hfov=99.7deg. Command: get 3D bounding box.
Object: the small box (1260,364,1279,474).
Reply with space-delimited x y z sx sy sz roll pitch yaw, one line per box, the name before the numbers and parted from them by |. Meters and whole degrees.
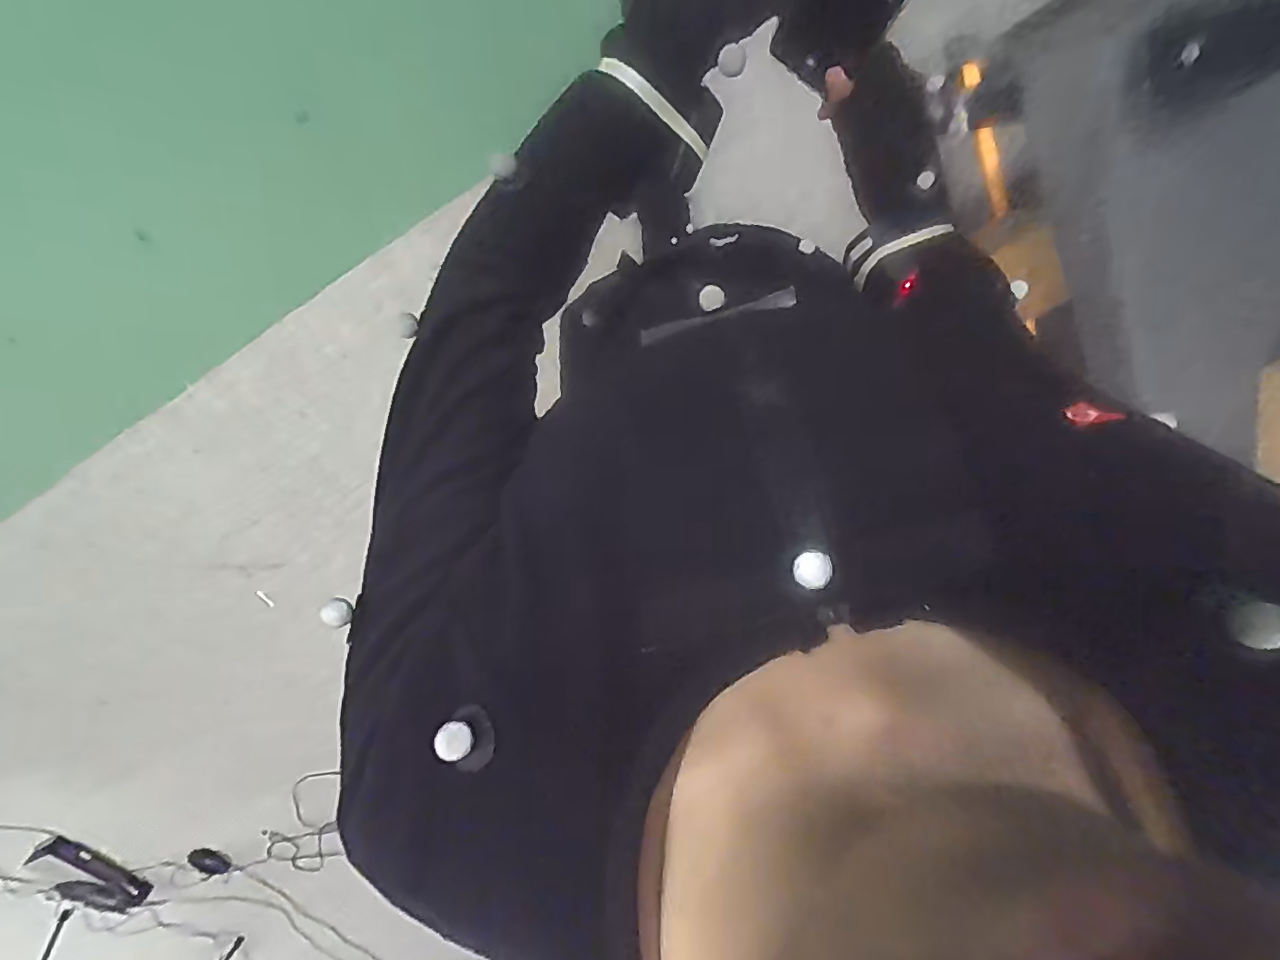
small box | 0.911 -0.073 0.643 0.168 0.176 0.179 -25 115 12
